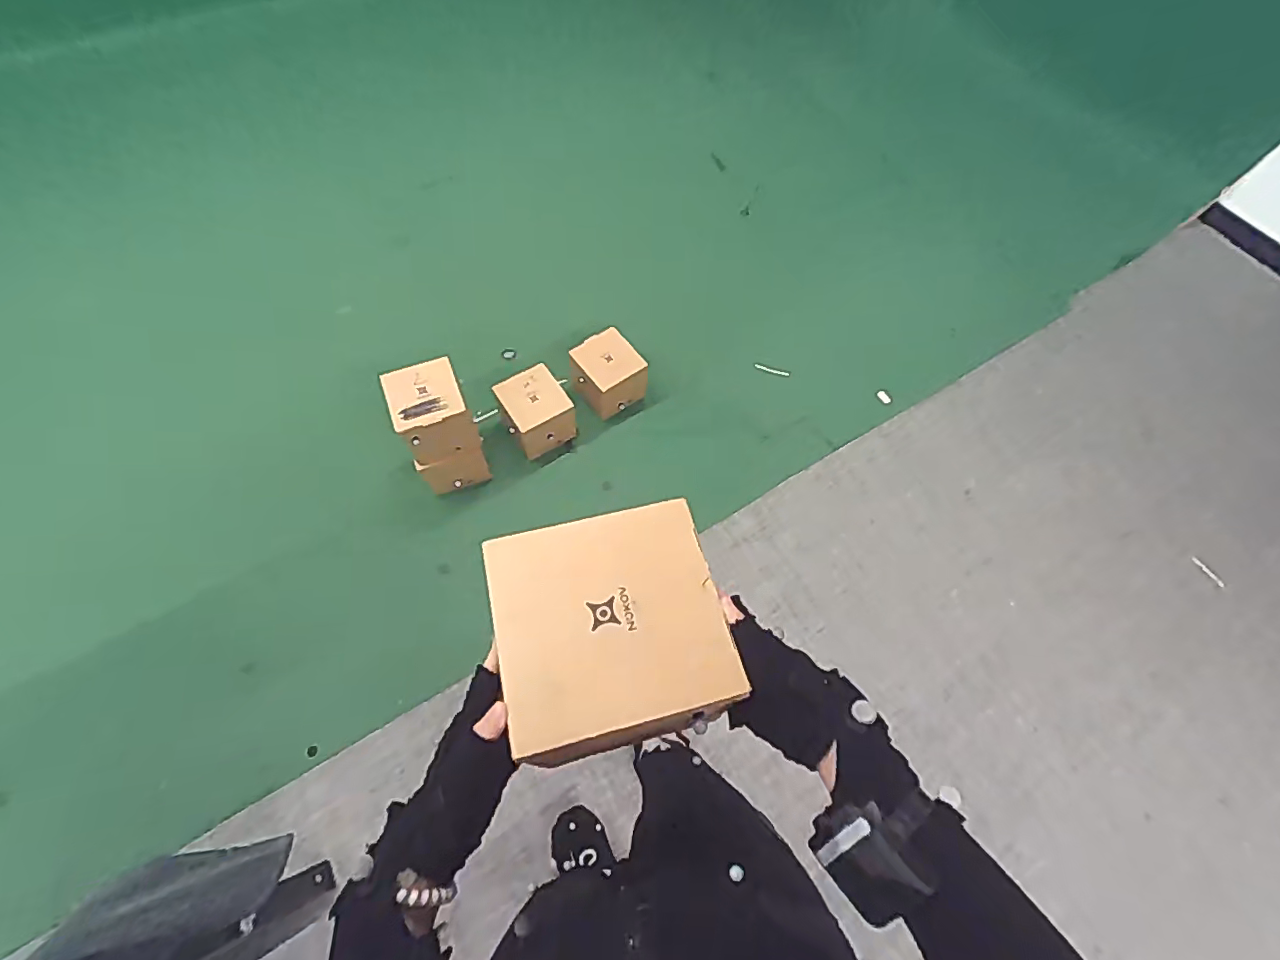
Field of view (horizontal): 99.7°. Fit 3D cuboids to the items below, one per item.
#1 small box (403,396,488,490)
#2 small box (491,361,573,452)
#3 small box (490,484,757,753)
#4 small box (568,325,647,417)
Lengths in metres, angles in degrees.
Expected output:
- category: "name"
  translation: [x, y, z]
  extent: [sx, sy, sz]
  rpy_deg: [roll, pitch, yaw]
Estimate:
- category: "small box"
  translation: [-0.529, -0.097, 1.484]
  extent: [0.168, 0.176, 0.179]
  rpy_deg: [-18, 69, -12]
- category: "small box"
  translation: [-0.303, -0.201, 1.552]
  extent: [0.168, 0.176, 0.179]
  rpy_deg: [-30, 70, -18]
- category: "small box"
  translation: [-0.022, 0.129, 0.478]
  extent: [0.179, 0.176, 0.168]
  rpy_deg: [-11, 61, -11]
- category: "small box"
  translation: [-0.101, -0.324, 1.629]
  extent: [0.168, 0.176, 0.179]
  rpy_deg: [-34, 72, -18]
